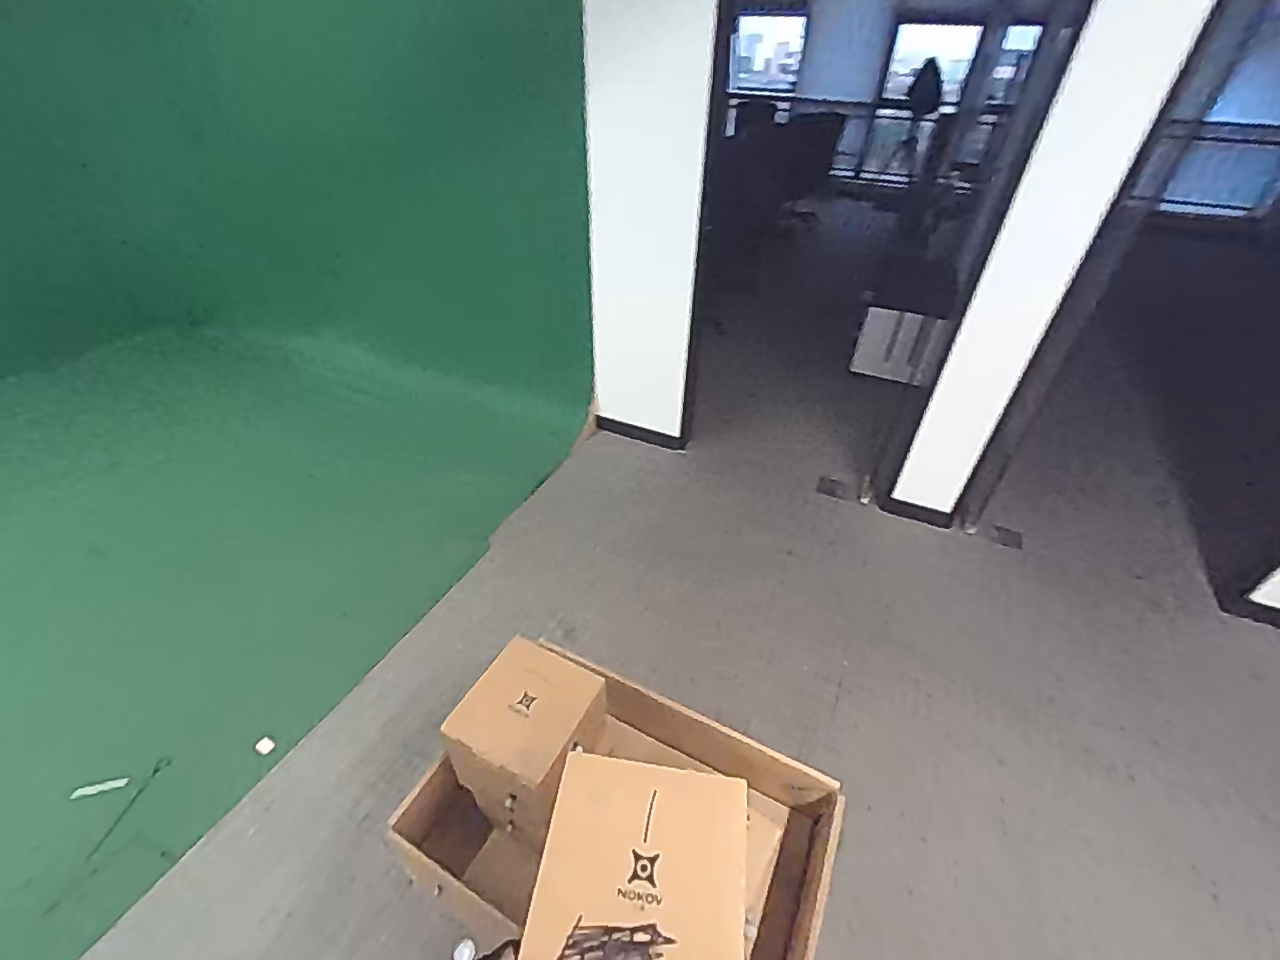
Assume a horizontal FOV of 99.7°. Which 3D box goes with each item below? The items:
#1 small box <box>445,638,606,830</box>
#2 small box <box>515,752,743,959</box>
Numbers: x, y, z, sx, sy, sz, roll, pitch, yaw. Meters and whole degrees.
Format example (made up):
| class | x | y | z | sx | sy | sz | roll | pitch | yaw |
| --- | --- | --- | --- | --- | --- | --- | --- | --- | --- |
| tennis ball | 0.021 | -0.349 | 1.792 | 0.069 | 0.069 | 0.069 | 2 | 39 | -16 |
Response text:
| class | x | y | z | sx | sy | sz | roll | pitch | yaw |
| --- | --- | --- | --- | --- | --- | --- | --- | --- | --- |
| small box | -0.158 | 0.384 | 0.821 | 0.168 | 0.176 | 0.179 | 19 | 41 | 21 |
| small box | 0.002 | 0.376 | 0.485 | 0.168 | 0.176 | 0.179 | 5 | 44 | 8 |
